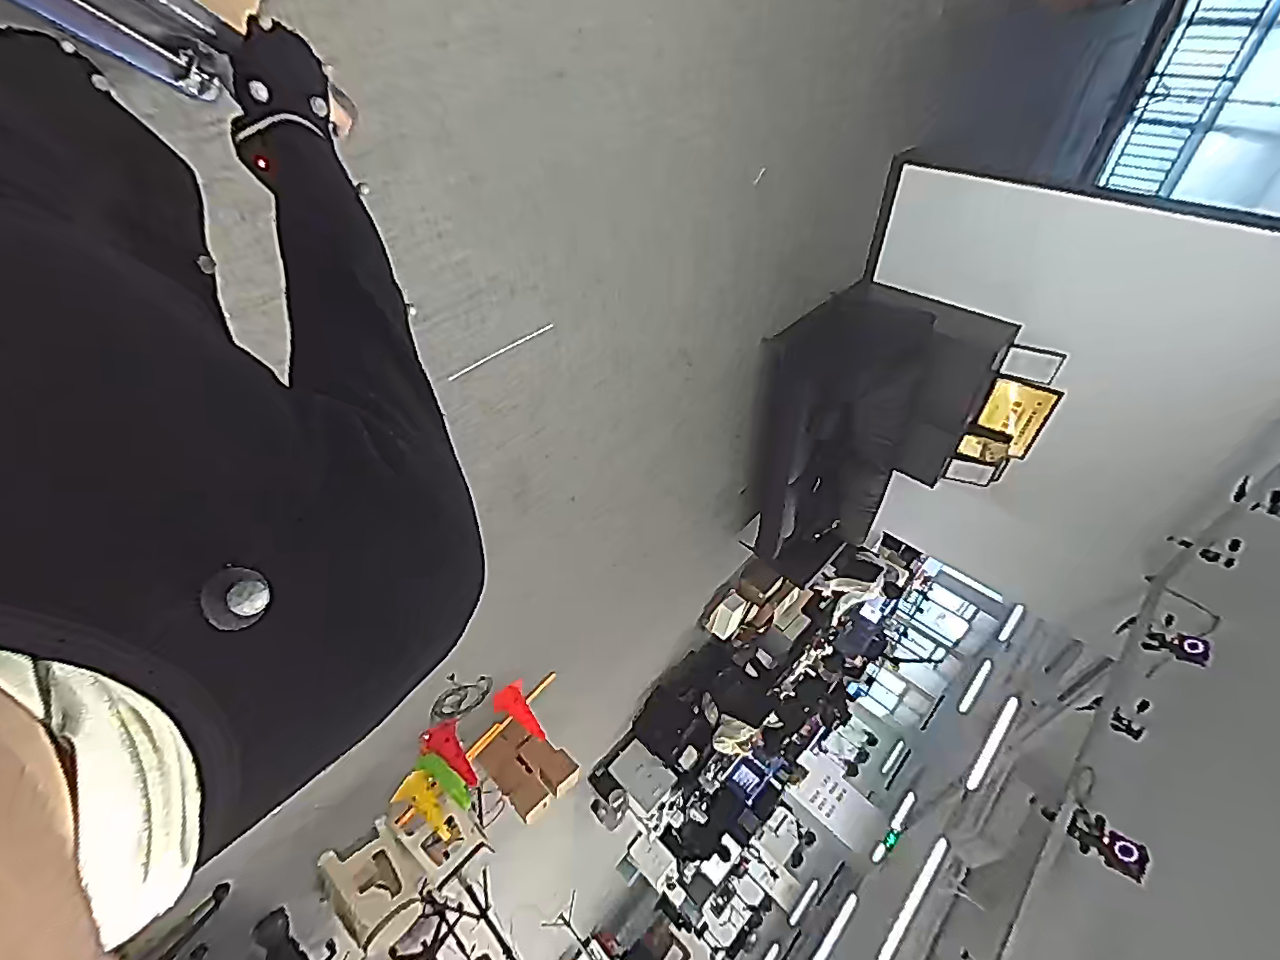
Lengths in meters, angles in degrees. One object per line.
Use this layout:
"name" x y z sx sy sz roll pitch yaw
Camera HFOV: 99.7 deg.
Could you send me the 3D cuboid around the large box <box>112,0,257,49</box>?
"large box" -0.713 -0.899 0.729 0.320 0.320 0.408 7 112 -57
